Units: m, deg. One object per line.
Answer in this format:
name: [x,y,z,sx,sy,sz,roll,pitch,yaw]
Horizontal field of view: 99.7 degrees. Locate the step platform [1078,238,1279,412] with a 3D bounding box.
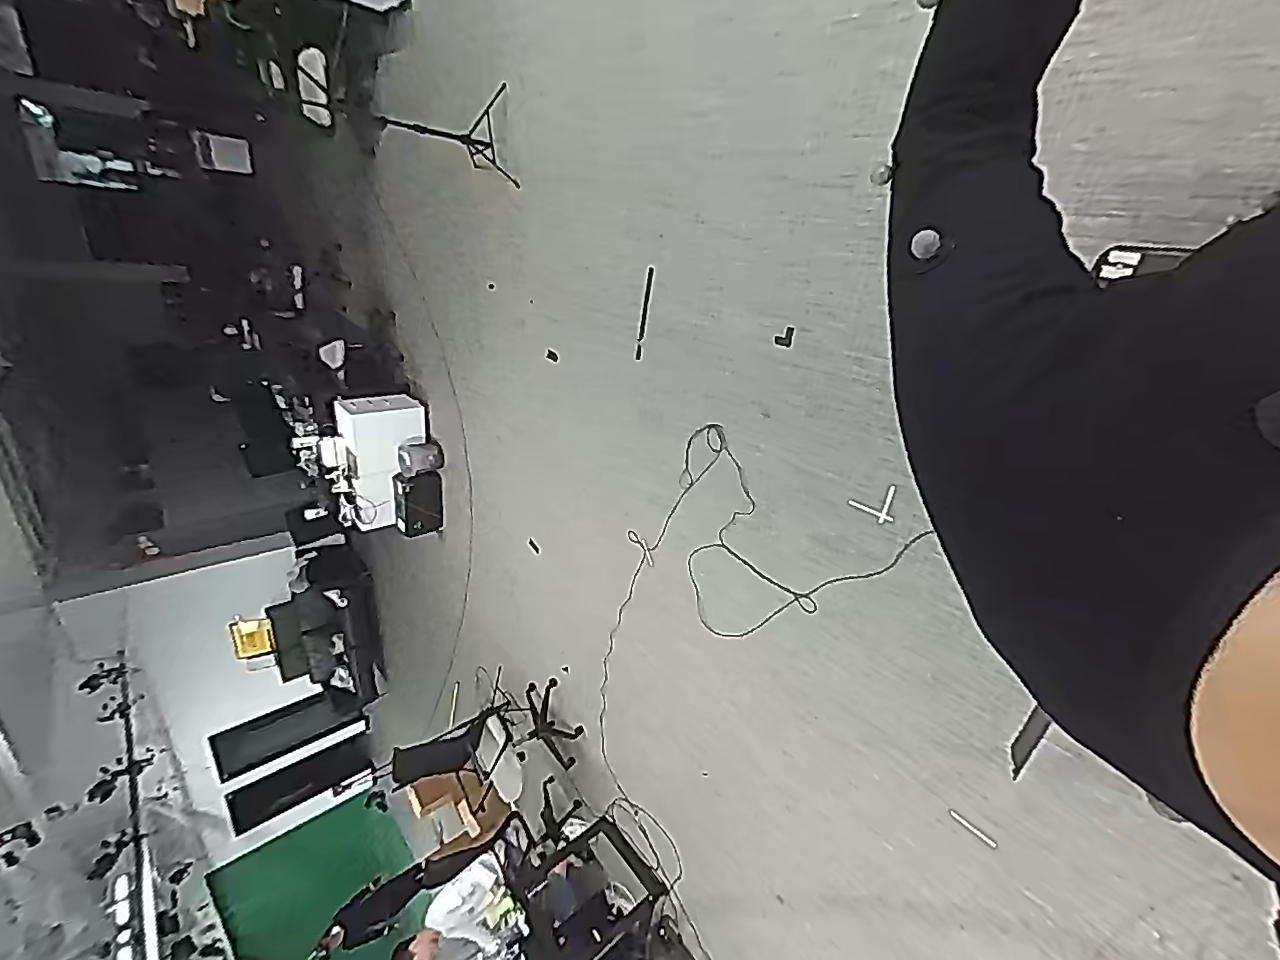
step platform: [1.244,-0.268,0.986,0.684,0.204,0.286,27,121,40]
